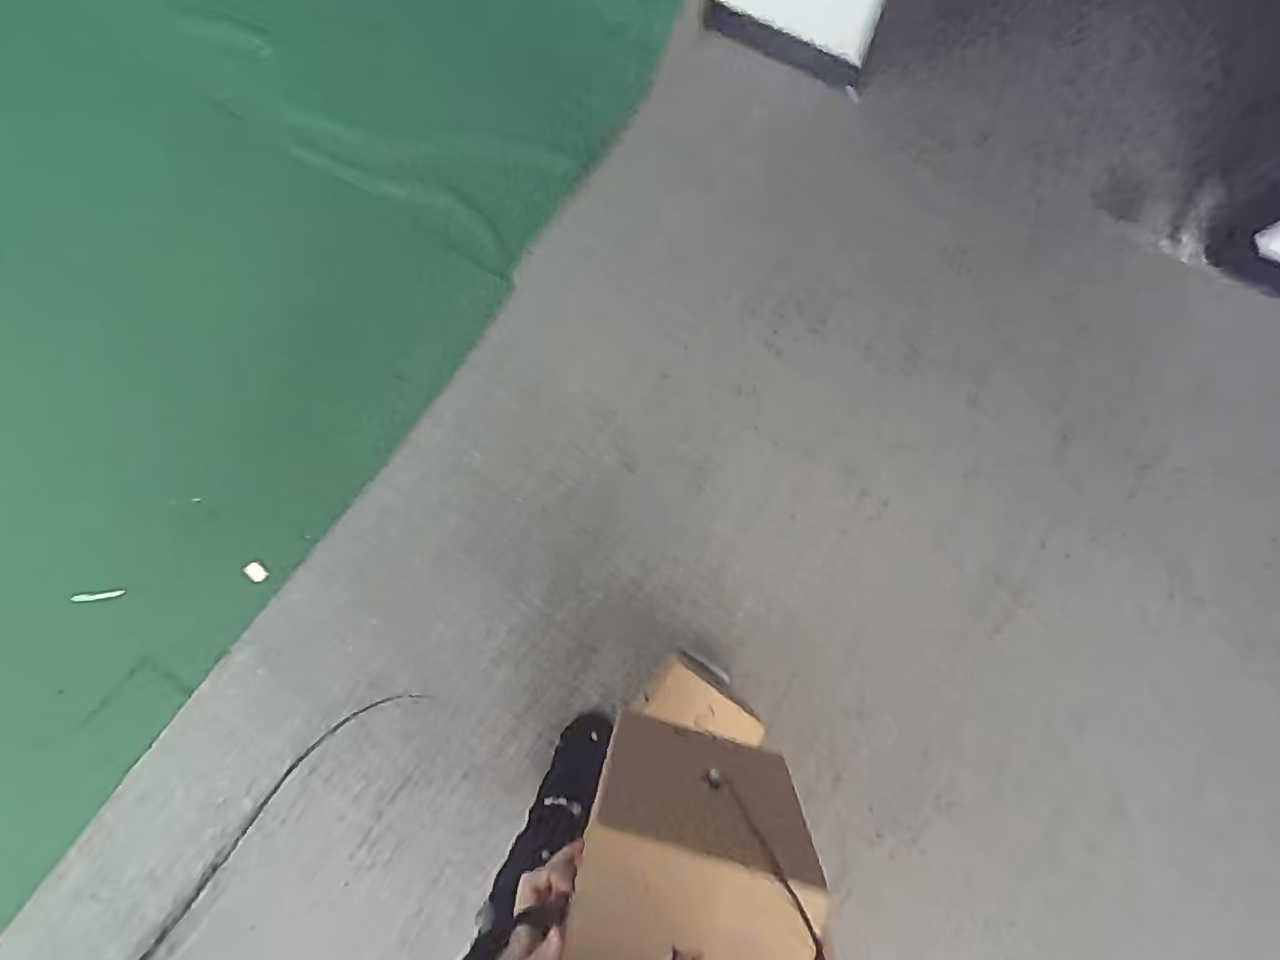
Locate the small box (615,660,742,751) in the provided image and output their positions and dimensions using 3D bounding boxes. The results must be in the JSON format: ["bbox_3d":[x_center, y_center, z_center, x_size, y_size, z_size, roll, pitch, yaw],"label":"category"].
[{"bbox_3d":[0.071,0.474,1.053,0.168,0.176,0.179,40,82,11],"label":"small box"}]

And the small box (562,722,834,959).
[{"bbox_3d":[0.035,0.336,0.448,0.168,0.176,0.179,15,95,4],"label":"small box"}]
